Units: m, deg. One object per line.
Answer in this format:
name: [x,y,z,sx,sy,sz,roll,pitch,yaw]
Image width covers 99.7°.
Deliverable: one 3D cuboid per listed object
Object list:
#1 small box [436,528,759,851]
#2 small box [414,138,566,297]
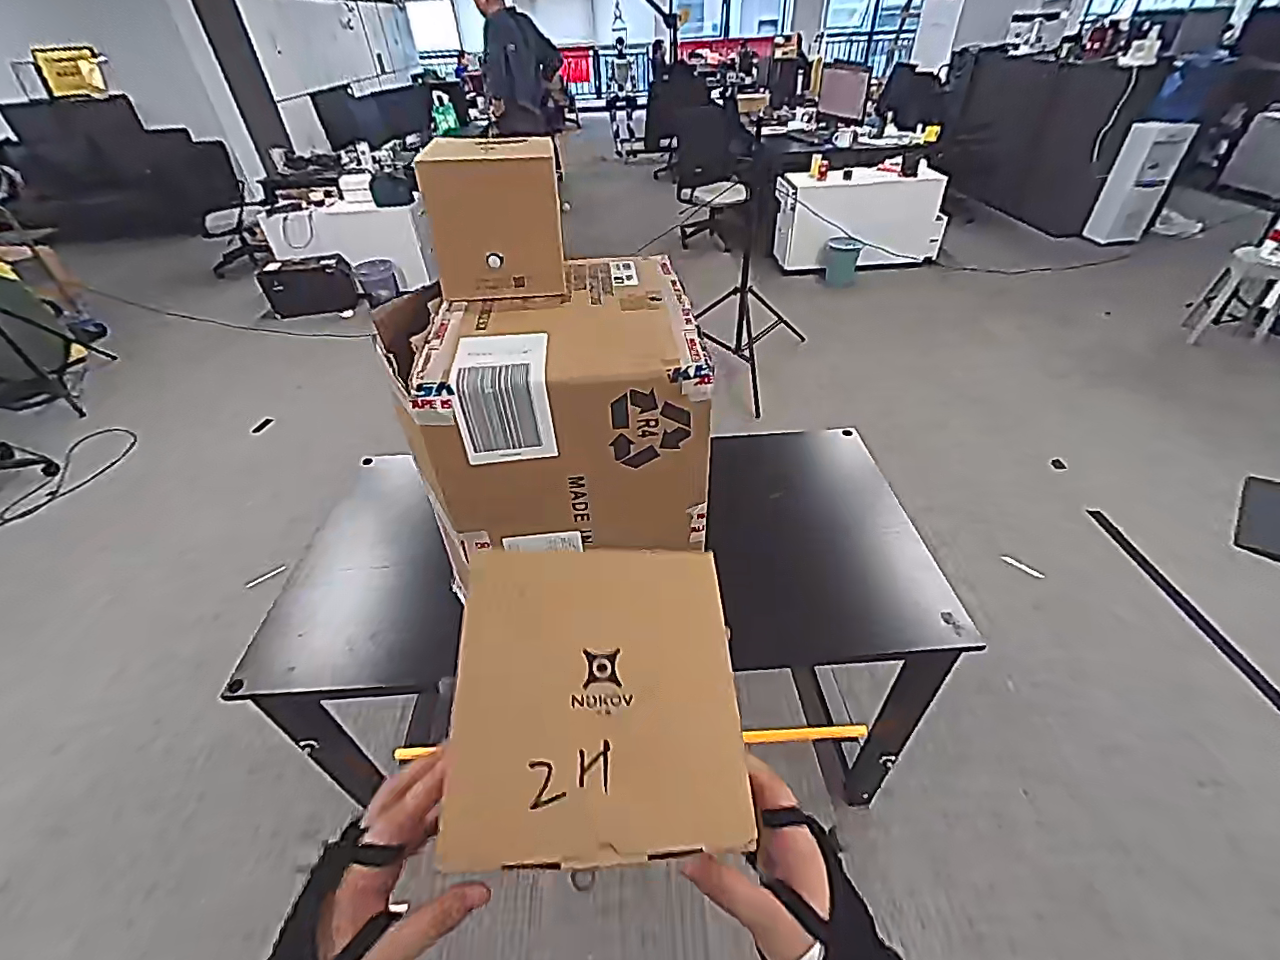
small box: [-0.036,0.151,0.379,0.168,0.176,0.179,2,57,-10]
small box: [-0.193,-0.365,0.748,0.168,0.176,0.179,-5,39,-6]
